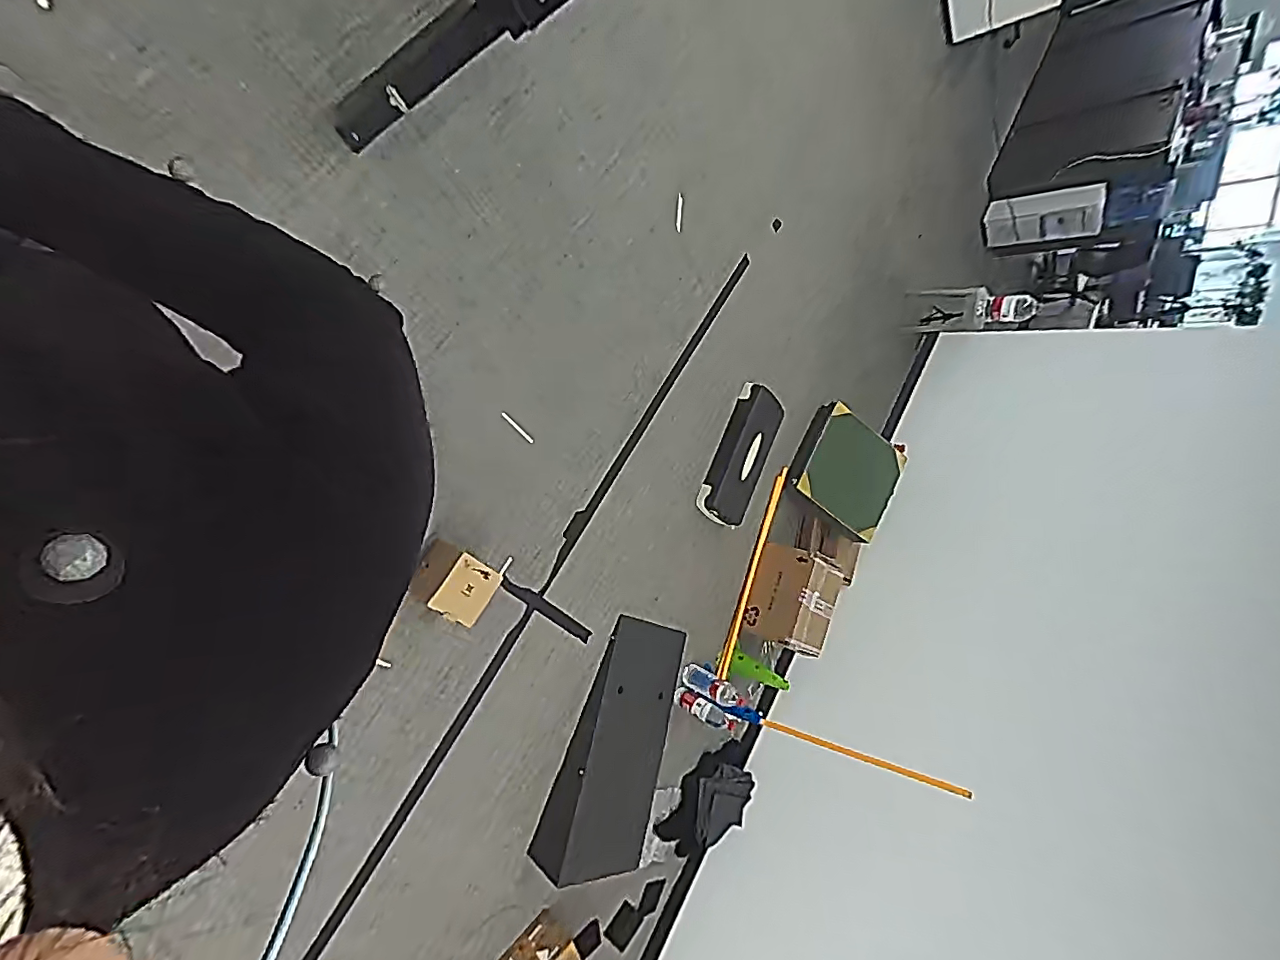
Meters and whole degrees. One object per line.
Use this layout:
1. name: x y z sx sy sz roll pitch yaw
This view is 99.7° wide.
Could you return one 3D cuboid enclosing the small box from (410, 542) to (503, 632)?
1. small box: -0.544 0.309 1.586 0.179 0.176 0.168 -57 133 -17
